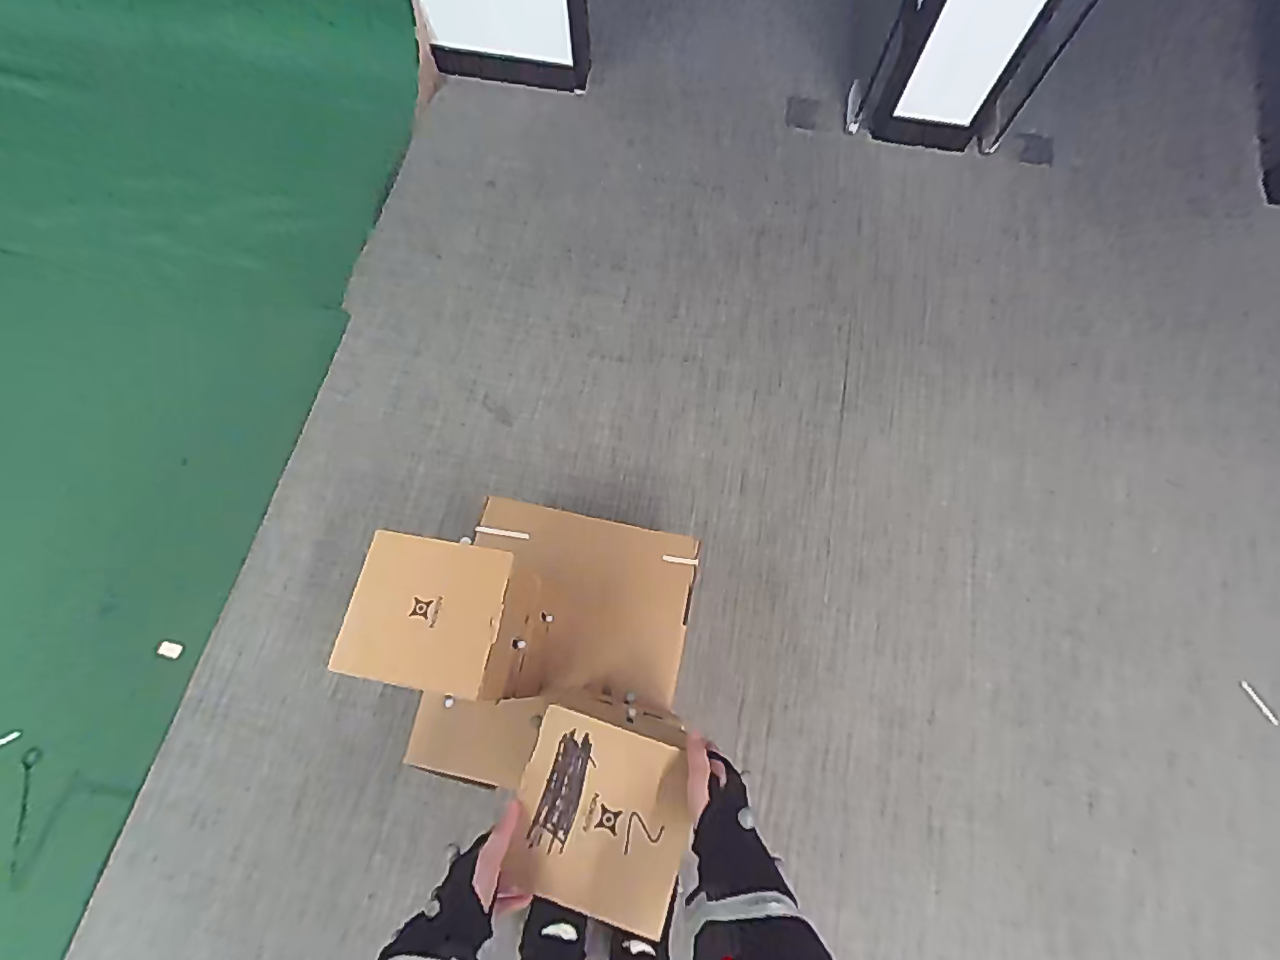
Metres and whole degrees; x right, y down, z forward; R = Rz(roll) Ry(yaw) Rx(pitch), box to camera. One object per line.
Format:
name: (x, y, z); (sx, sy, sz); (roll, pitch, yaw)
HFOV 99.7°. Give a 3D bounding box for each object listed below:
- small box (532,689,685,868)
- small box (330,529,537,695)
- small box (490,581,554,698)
small box: (-0.042, 0.414, 0.783); (0.168, 0.176, 0.179); (15, 70, 4)
small box: (-0.246, 0.177, 0.695); (0.179, 0.176, 0.168); (10, 69, 2)
small box: (-0.242, 0.238, 0.846); (0.179, 0.176, 0.168); (9, 69, 3)
